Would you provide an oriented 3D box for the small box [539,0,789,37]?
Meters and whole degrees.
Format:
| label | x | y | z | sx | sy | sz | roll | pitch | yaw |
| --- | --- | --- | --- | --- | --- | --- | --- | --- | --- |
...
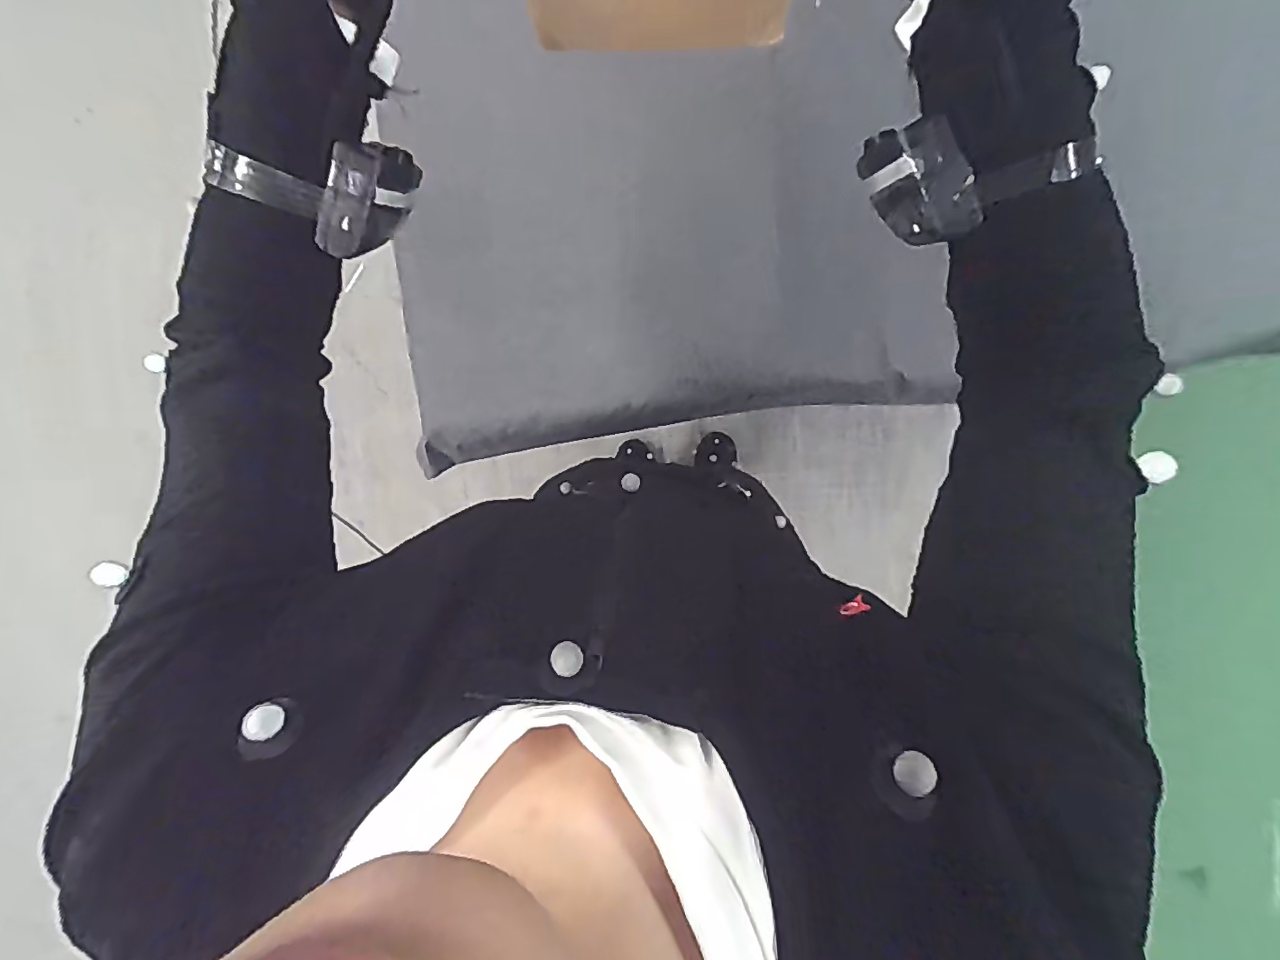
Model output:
| label | x | y | z | sx | sy | sz | roll | pitch | yaw |
| --- | --- | --- | --- | --- | --- | --- | --- | --- | --- |
| small box | 0.014 | -0.394 | 0.303 | 0.179 | 0.176 | 0.168 | 2 | 91 | 3 |
